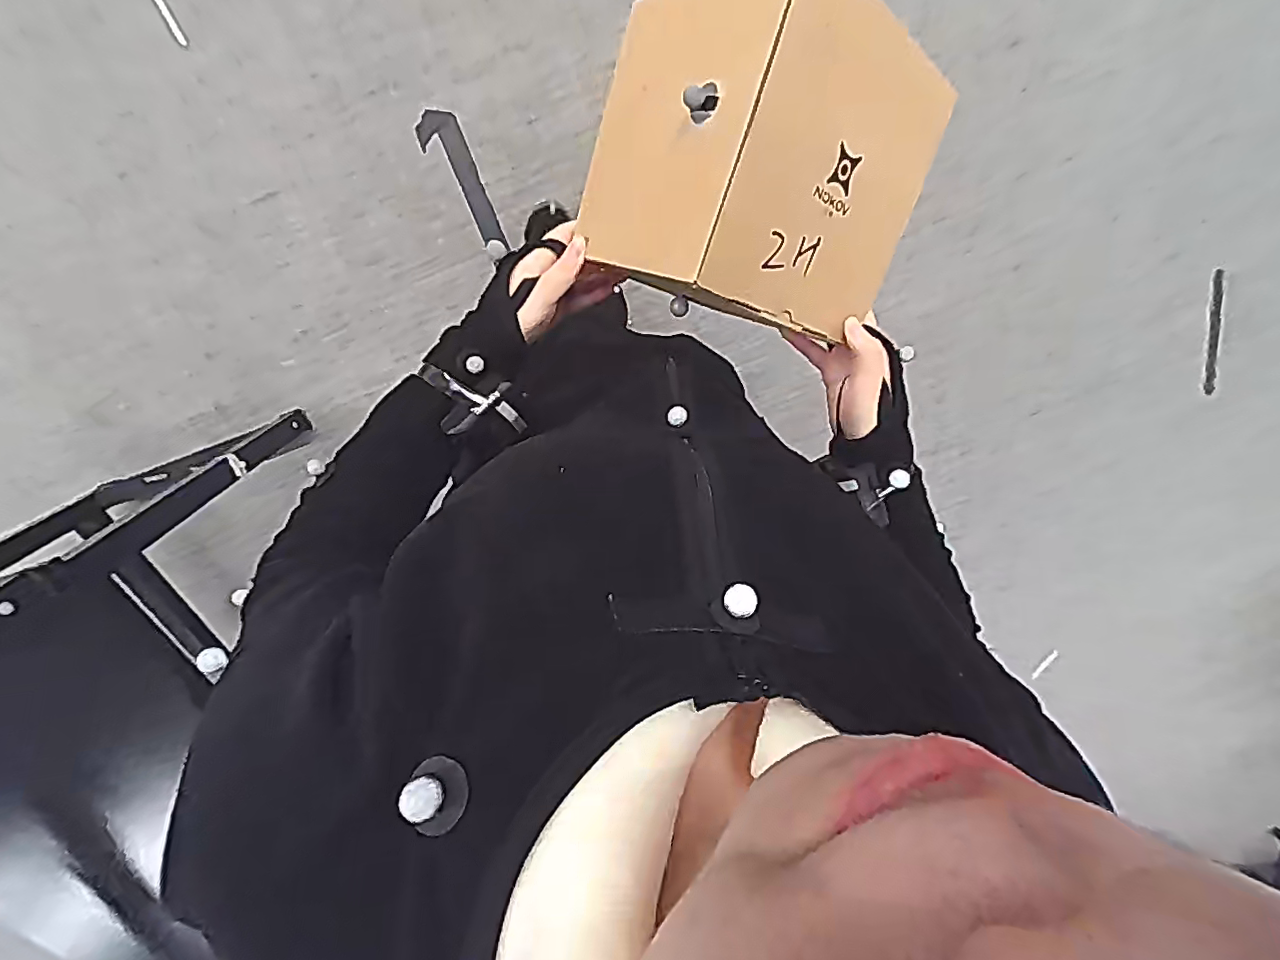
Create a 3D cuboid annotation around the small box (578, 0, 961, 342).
[{"bbox_3d":[0.077,-0.219,0.384,0.168,0.176,0.179,6,111,-38],"label":"small box"}]
